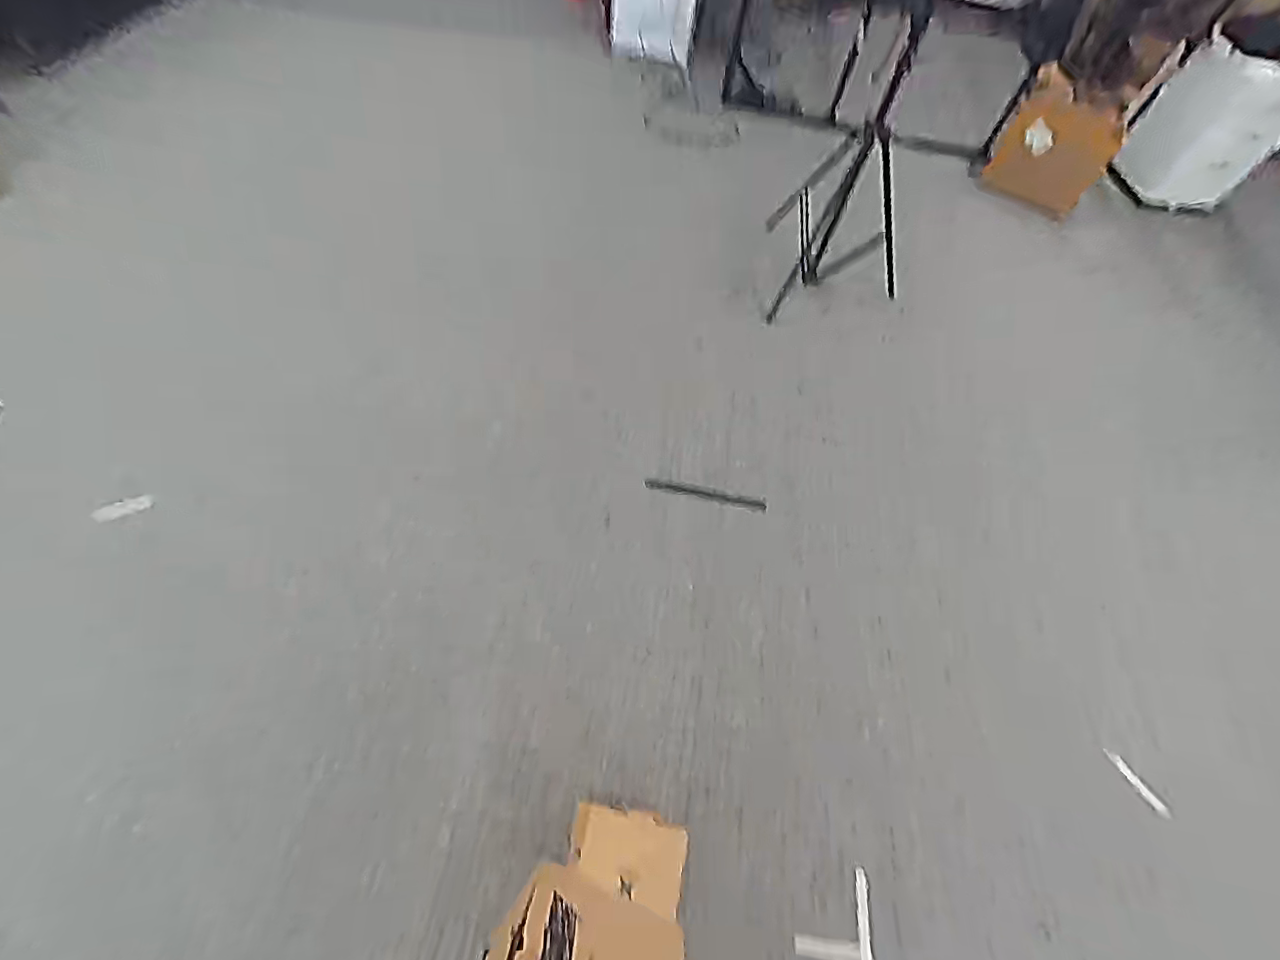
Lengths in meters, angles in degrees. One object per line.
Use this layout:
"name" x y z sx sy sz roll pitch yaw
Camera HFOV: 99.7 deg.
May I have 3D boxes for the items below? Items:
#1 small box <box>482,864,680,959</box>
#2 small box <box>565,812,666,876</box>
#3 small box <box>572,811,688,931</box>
"small box" -0.081 0.537 0.527 0.179 0.176 0.168 29 20 -1
"small box" -0.054 0.750 1.042 0.179 0.176 0.168 9 56 -1
"small box" -0.030 0.675 0.897 0.168 0.176 0.179 16 55 2
